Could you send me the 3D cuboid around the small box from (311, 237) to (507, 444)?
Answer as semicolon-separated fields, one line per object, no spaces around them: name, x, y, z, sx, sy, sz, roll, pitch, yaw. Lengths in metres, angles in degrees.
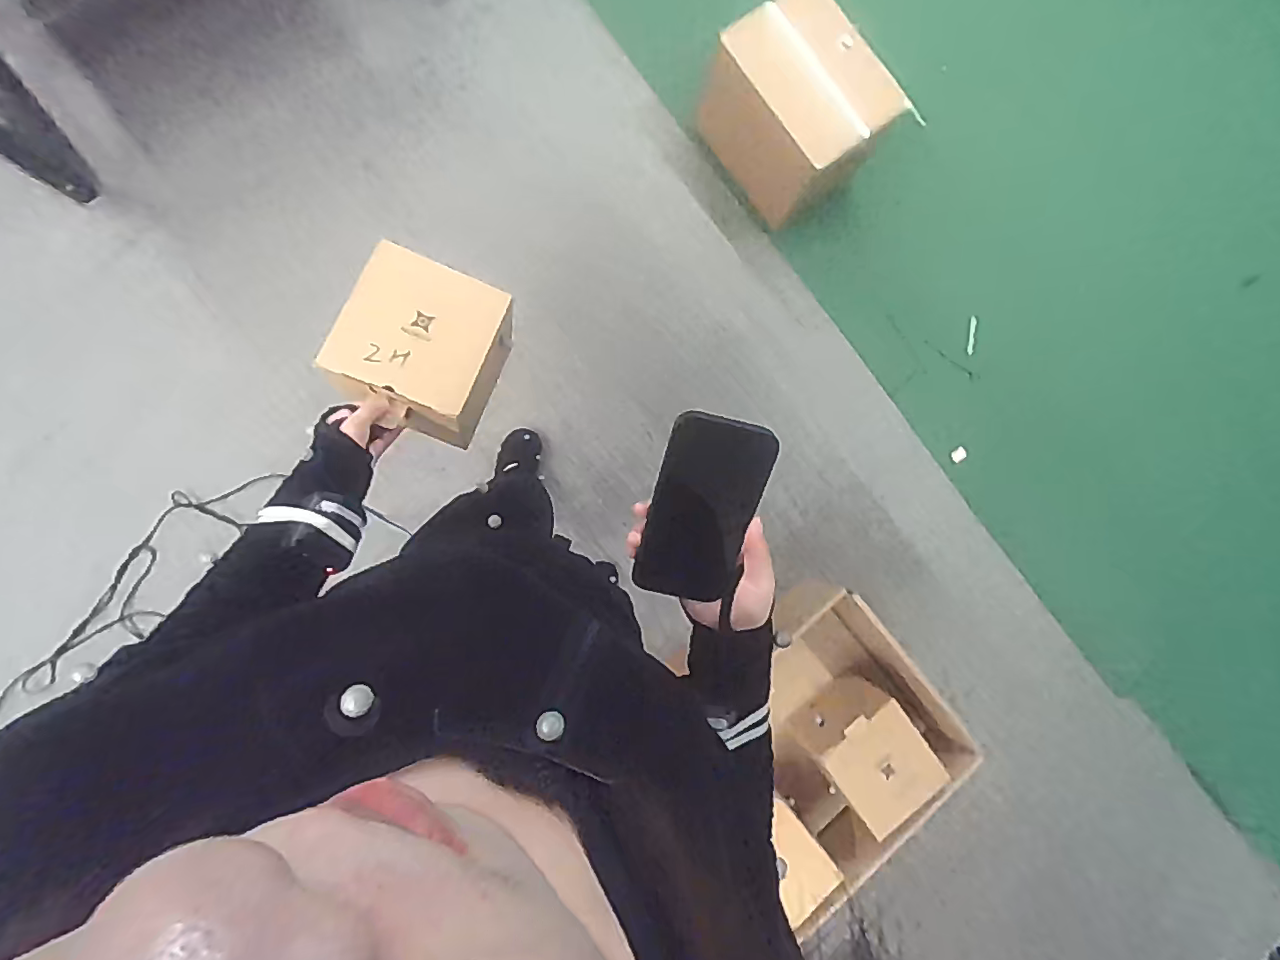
small box;-0.286;-0.169;0.710;0.168;0.176;0.179;21;76;-9

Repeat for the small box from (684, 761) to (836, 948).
small box;0.203;0.646;0.960;0.168;0.176;0.179;-39;91;-8
